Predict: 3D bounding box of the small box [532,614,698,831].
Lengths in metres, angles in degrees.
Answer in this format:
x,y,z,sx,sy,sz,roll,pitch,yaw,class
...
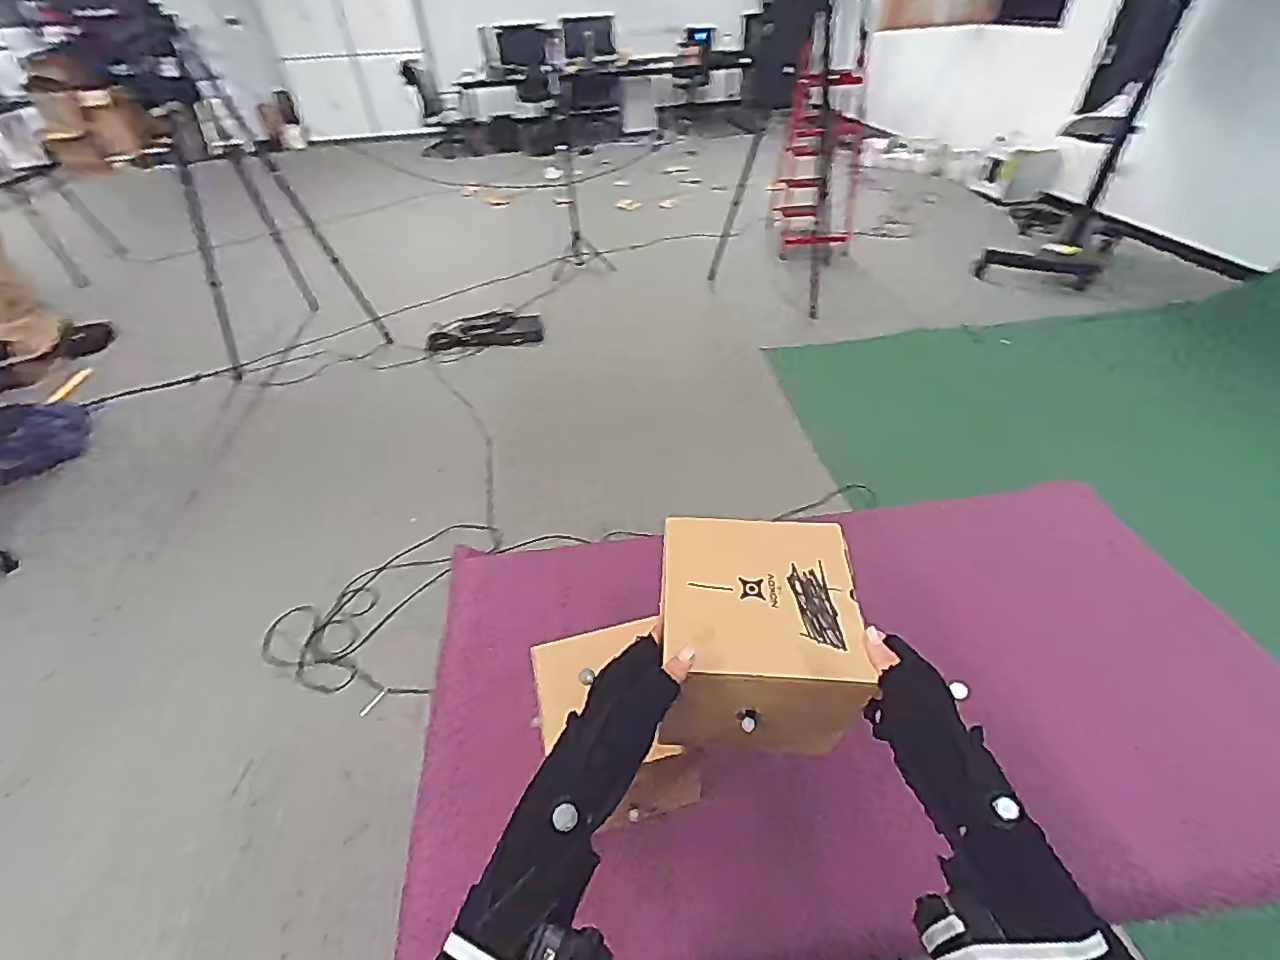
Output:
x,y,z,sx,sy,sz,roll,pitch,yaw,class
-0.034,0.303,0.680,0.168,0.176,0.179,-13,43,-9,small box

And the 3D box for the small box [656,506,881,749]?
x,y,z,sx,sy,sz,roll,pitch,yaw,class
0.113,0.150,0.540,0.179,0.176,0.168,5,44,5,small box
